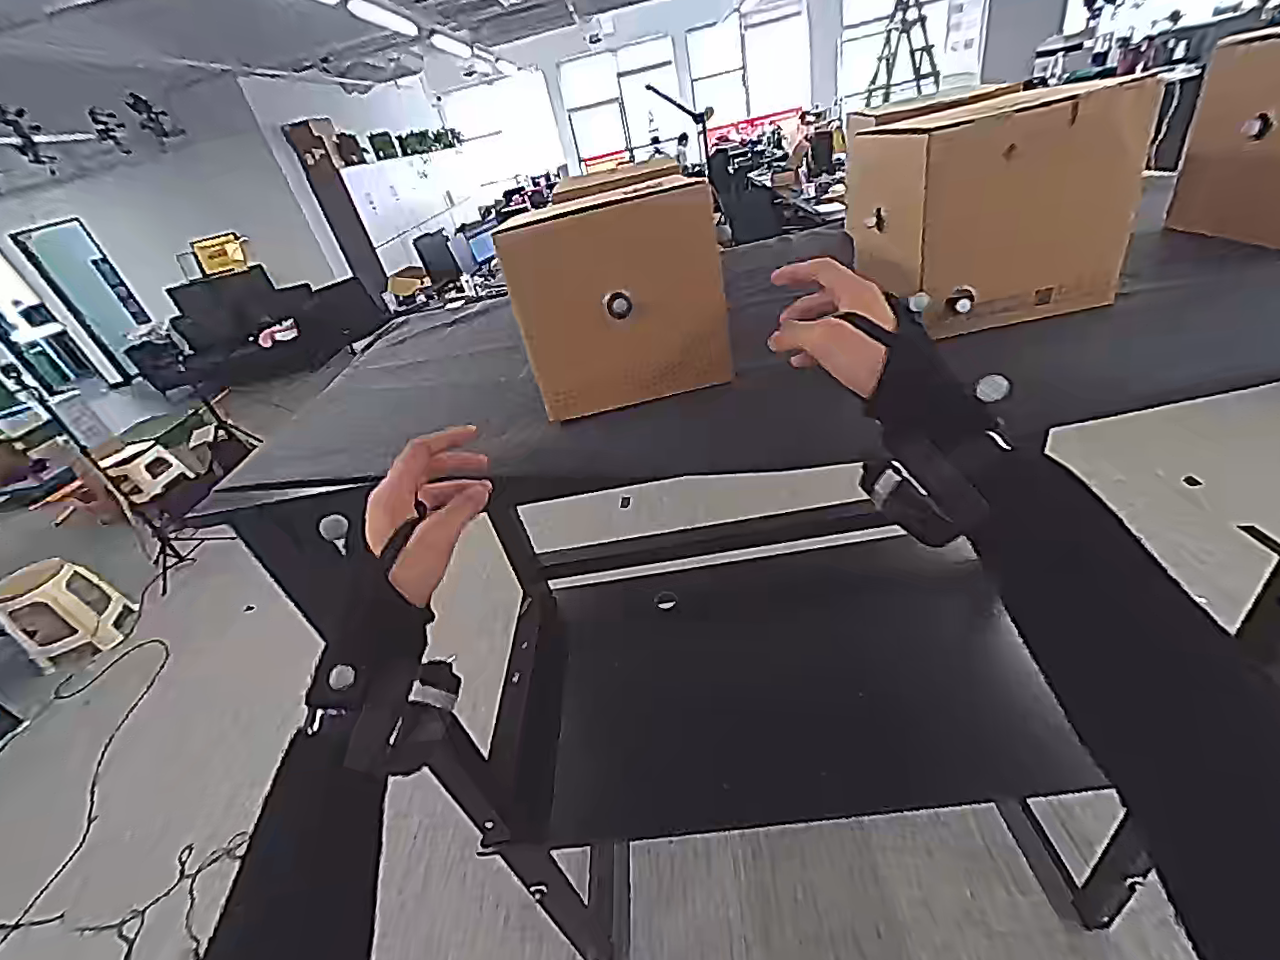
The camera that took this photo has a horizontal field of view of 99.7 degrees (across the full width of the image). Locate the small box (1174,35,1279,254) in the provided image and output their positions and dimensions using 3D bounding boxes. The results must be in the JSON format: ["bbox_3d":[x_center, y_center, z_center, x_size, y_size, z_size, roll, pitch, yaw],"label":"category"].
[{"bbox_3d":[0.644,-0.309,0.477,0.168,0.176,0.179,-11,32,6],"label":"small box"}]

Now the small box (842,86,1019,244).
[{"bbox_3d":[0.385,-0.425,0.751,0.168,0.176,0.179,-6,34,10],"label":"small box"}]

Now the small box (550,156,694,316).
[{"bbox_3d":[-0.020,-0.348,0.782,0.168,0.176,0.179,-10,34,5],"label":"small box"}]

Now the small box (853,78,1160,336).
[{"bbox_3d":[0.311,-0.245,0.505,0.168,0.176,0.179,-10,31,6],"label":"small box"}]
